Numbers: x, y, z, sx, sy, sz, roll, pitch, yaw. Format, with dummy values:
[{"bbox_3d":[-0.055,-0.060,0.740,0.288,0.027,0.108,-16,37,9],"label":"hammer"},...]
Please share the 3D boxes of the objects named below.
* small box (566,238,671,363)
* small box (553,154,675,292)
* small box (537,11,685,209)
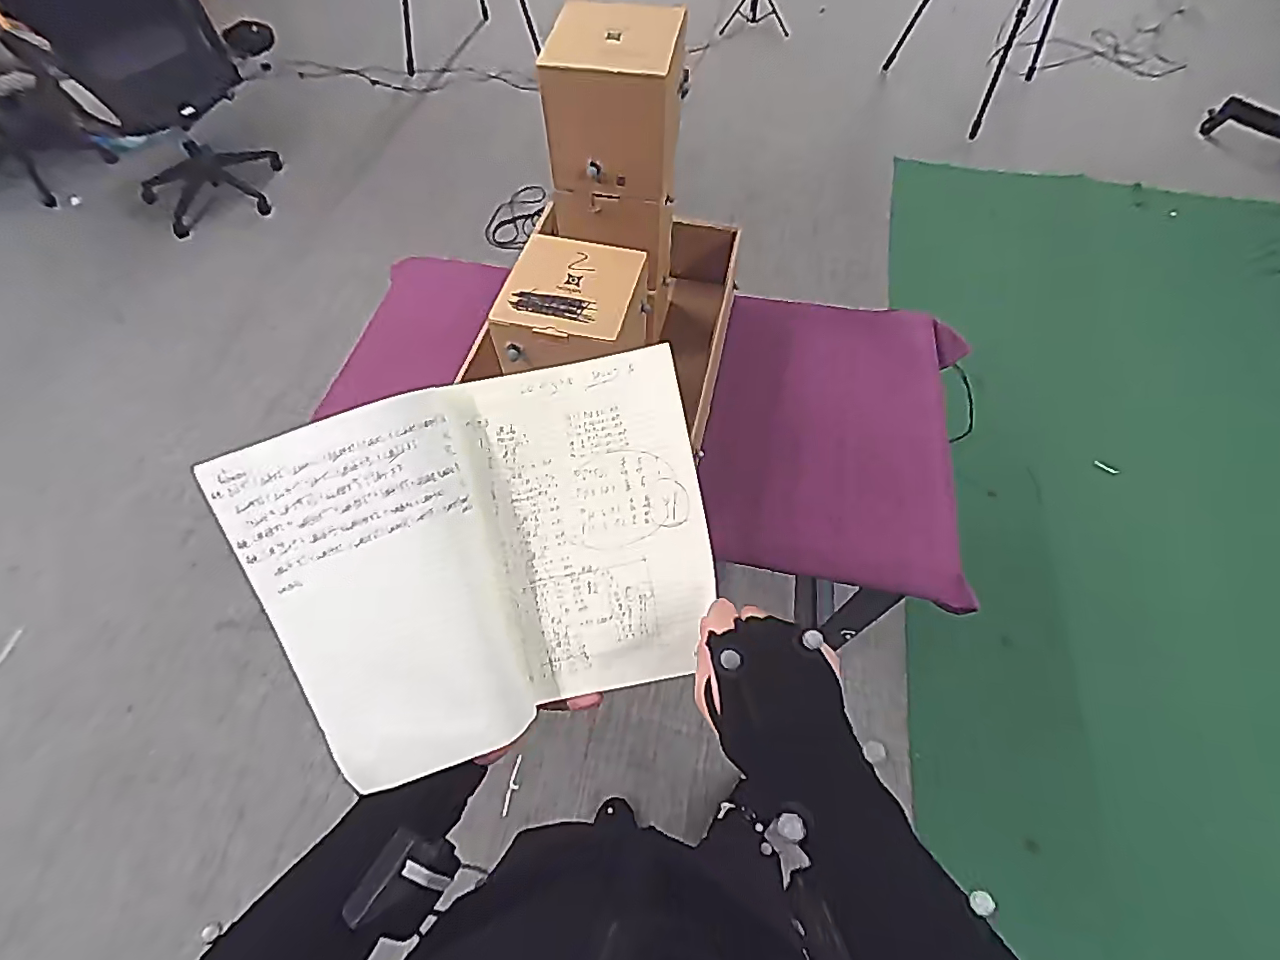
[{"bbox_3d":[-0.037,-0.357,1.054,0.168,0.176,0.179,9,62,5],"label":"small box"},{"bbox_3d":[-0.036,-0.445,0.915,0.168,0.176,0.179,9,61,5],"label":"small box"},{"bbox_3d":[-0.035,-0.523,0.772,0.168,0.176,0.179,9,62,5],"label":"small box"}]
